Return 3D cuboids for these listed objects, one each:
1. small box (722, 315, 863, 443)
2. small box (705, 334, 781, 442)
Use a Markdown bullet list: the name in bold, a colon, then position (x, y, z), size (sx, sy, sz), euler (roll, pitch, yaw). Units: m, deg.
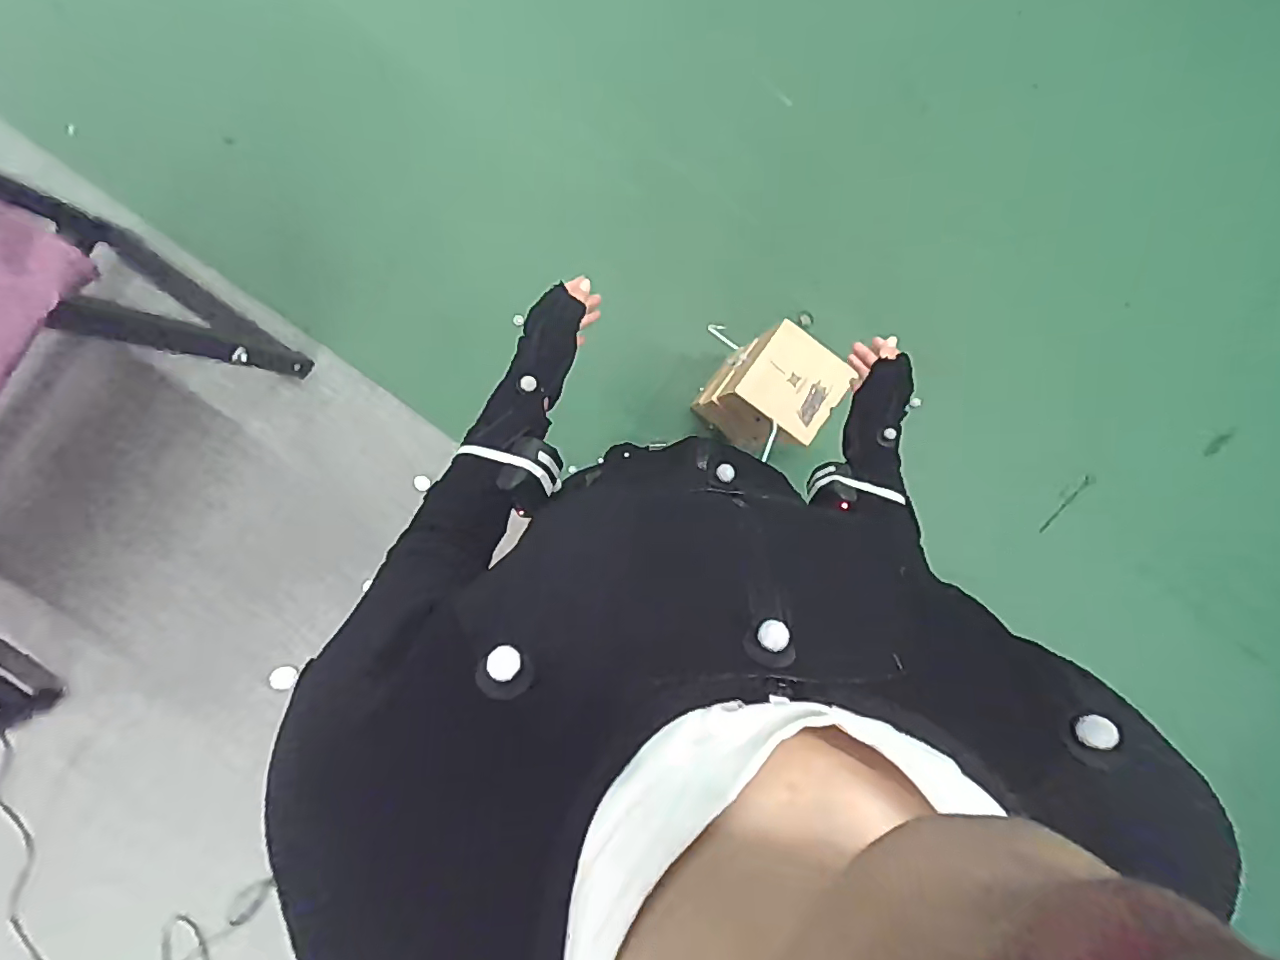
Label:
- **small box**: position (0.288, -0.190, 1.057), size (0.179, 0.176, 0.168), euler (39, 90, -5)
- **small box**: position (0.268, -0.199, 1.223), size (0.179, 0.176, 0.168), euler (37, 93, -5)
